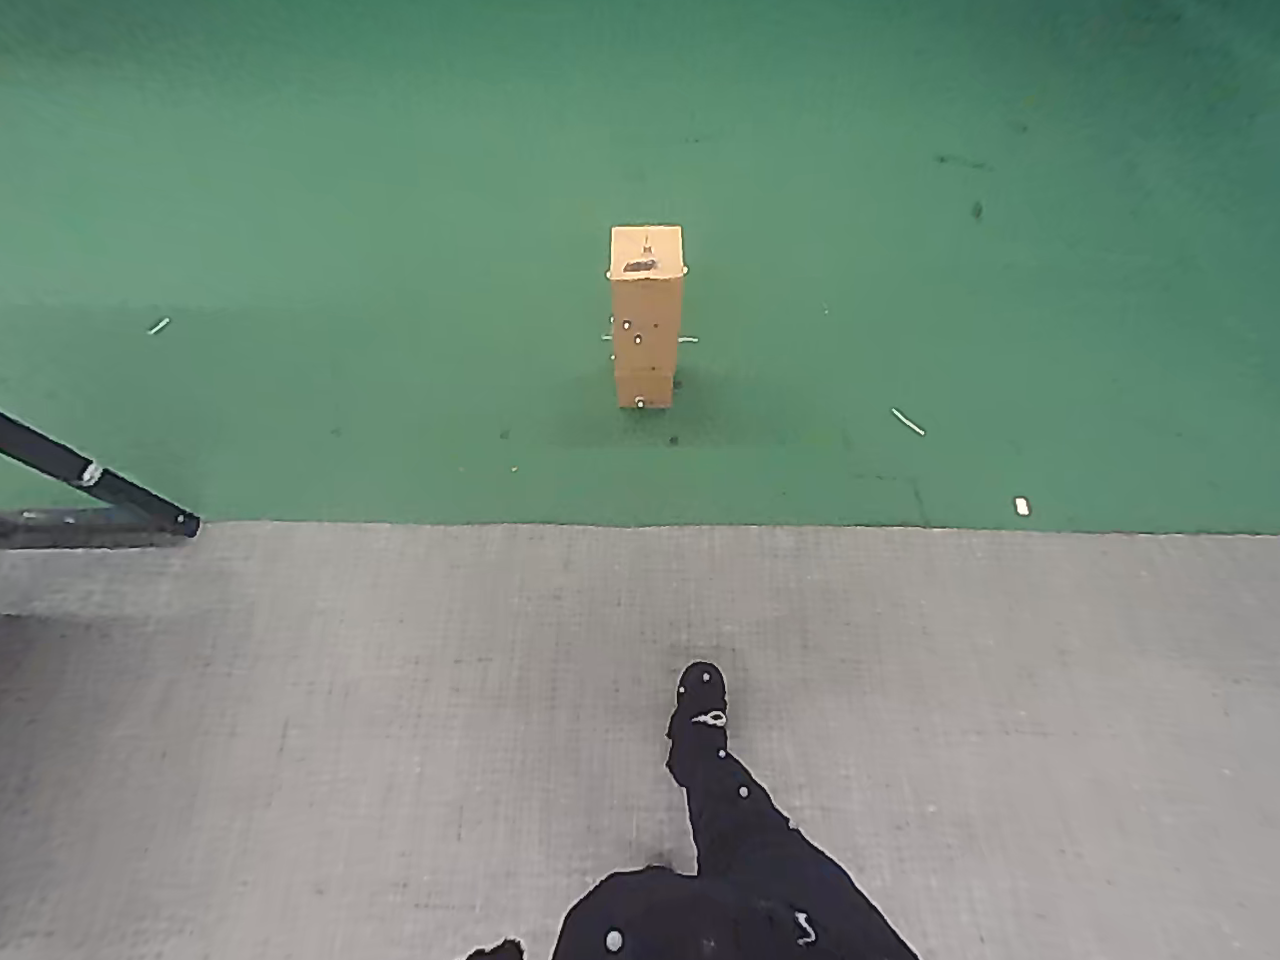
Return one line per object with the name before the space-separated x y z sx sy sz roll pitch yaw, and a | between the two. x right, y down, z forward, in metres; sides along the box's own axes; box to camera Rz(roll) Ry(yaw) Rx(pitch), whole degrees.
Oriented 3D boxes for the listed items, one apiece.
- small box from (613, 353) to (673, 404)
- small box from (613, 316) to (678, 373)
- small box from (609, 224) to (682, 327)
small box | 0.013 -0.344 1.580 0.168 0.176 0.179 1 64 3
small box | 0.016 -0.411 1.451 0.168 0.176 0.179 1 62 1
small box | 0.015 -0.487 1.305 0.168 0.176 0.179 0 63 0
